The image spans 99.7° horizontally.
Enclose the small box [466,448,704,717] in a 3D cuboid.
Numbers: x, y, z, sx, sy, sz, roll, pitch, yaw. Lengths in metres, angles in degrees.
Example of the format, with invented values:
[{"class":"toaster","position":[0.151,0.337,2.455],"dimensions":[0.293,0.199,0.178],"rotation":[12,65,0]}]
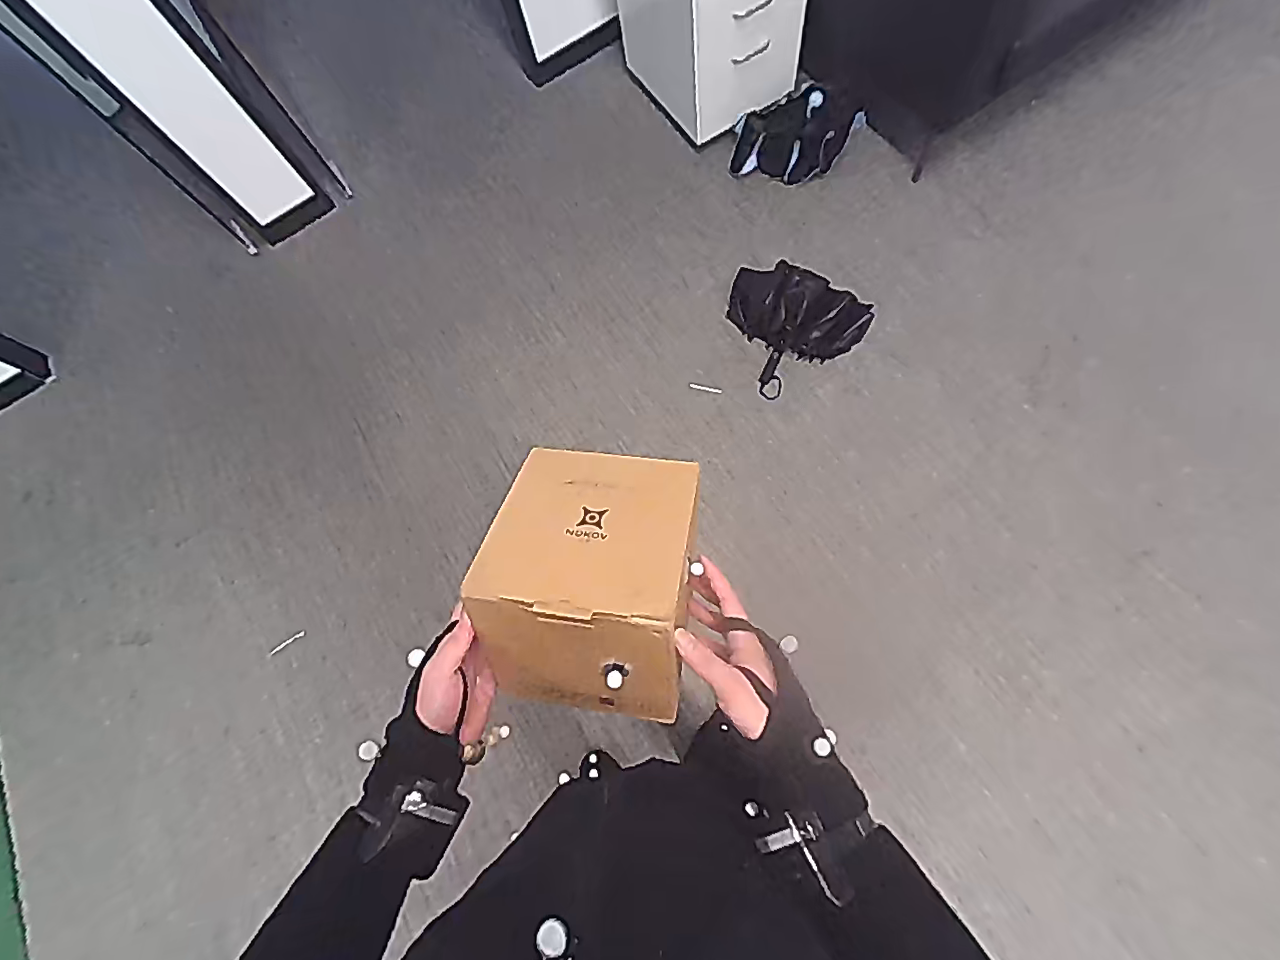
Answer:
[{"class":"small box","position":[-0.034,0.094,0.506],"dimensions":[0.168,0.176,0.179],"rotation":[7,42,8]}]
